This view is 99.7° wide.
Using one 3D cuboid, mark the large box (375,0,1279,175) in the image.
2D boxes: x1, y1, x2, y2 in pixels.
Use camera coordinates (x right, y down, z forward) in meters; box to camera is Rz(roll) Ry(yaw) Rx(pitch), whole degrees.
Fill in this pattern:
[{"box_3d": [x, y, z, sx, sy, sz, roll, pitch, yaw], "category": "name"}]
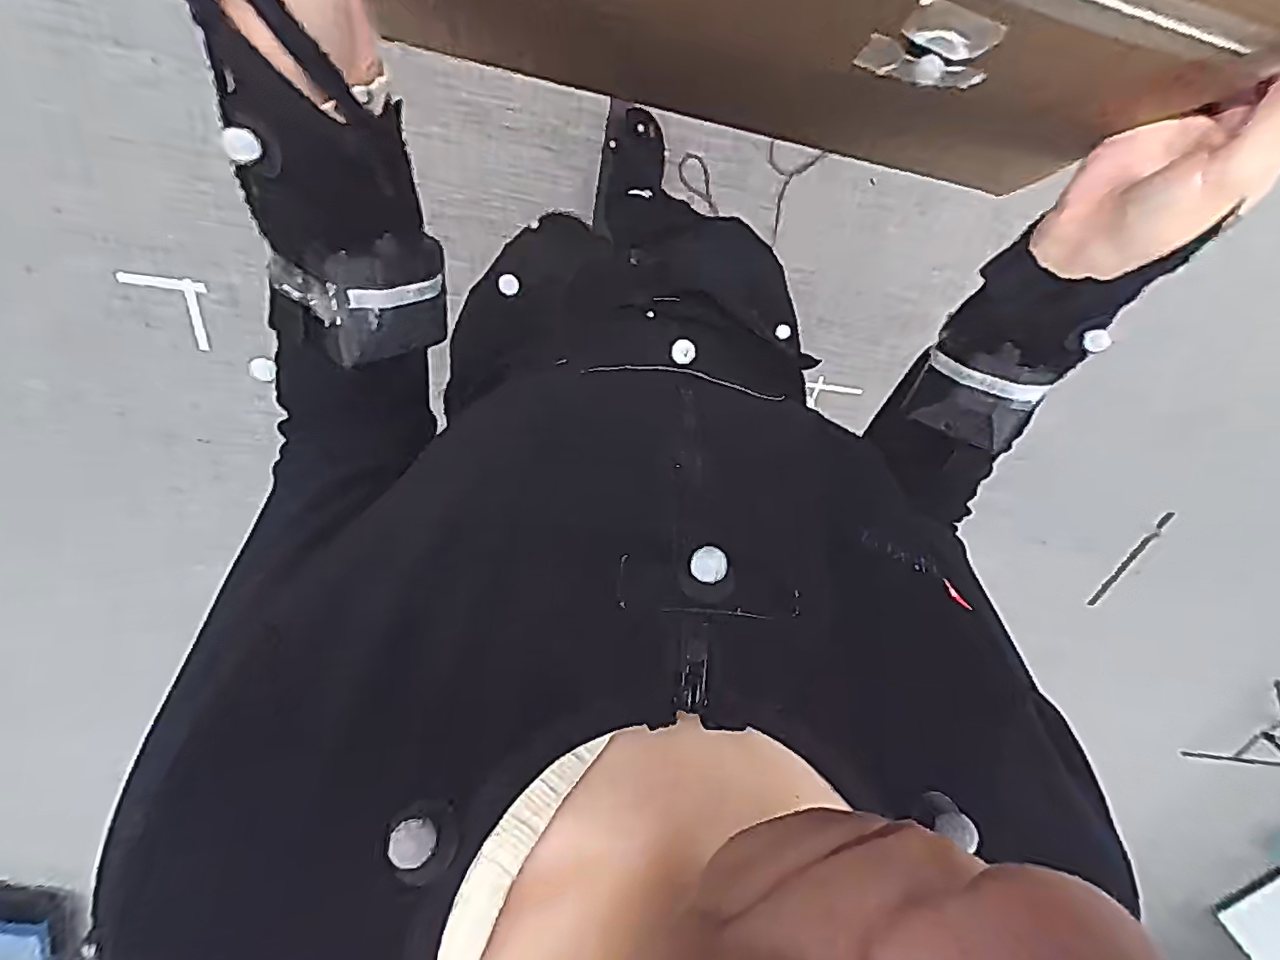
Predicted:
[{"box_3d": [0.093, -0.355, 0.170, 0.408, 0.320, 0.320, 7, 99, -10], "category": "large box"}]
